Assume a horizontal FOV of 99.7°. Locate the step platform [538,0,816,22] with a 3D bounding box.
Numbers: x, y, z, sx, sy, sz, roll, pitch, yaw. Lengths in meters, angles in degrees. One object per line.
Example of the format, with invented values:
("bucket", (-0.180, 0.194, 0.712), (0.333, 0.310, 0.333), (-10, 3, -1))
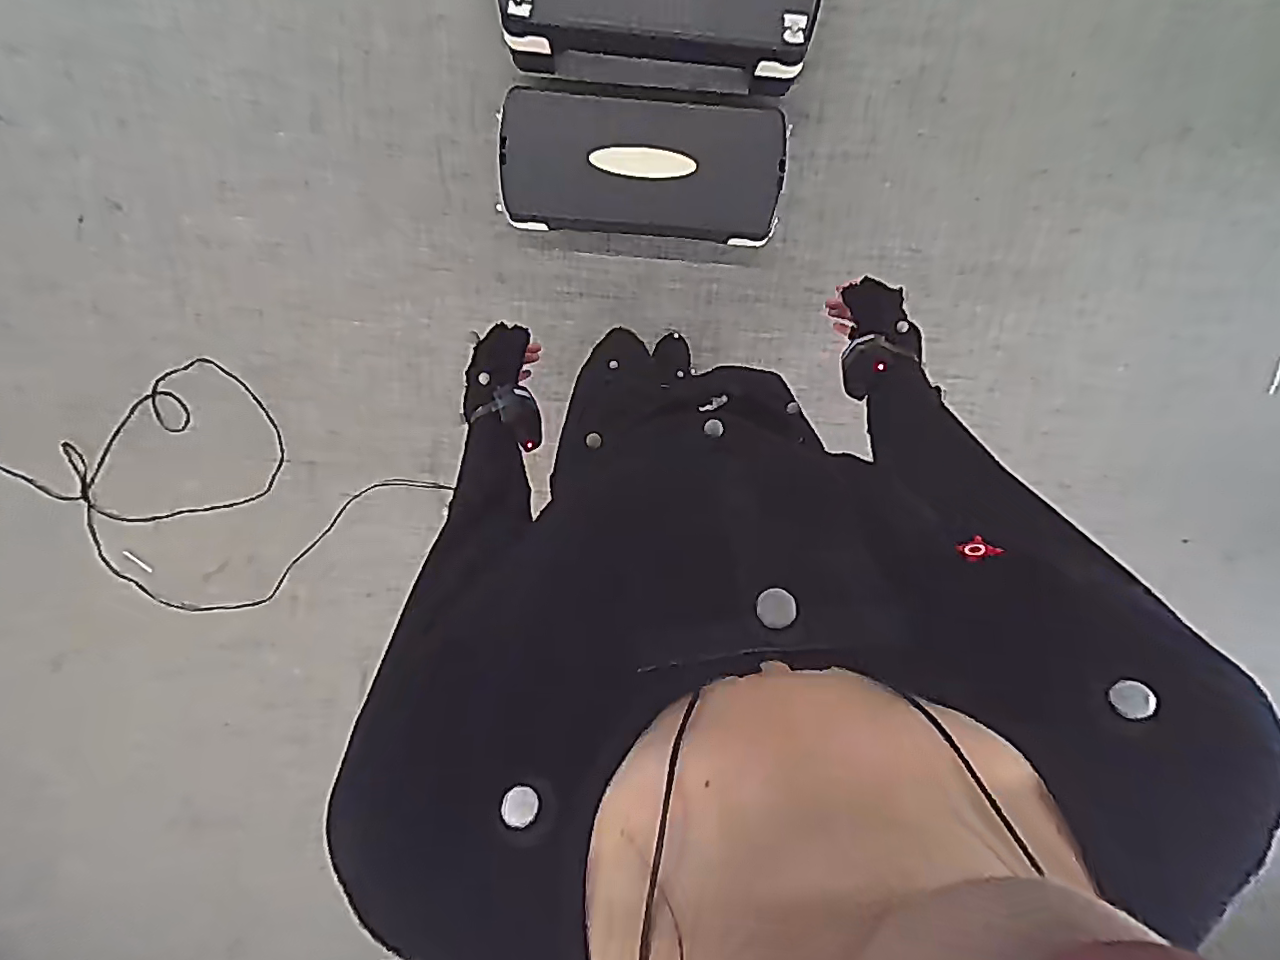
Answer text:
("step platform", (0.019, -1.034, 0.948), (0.684, 0.204, 0.286), (4, 104, -1))
